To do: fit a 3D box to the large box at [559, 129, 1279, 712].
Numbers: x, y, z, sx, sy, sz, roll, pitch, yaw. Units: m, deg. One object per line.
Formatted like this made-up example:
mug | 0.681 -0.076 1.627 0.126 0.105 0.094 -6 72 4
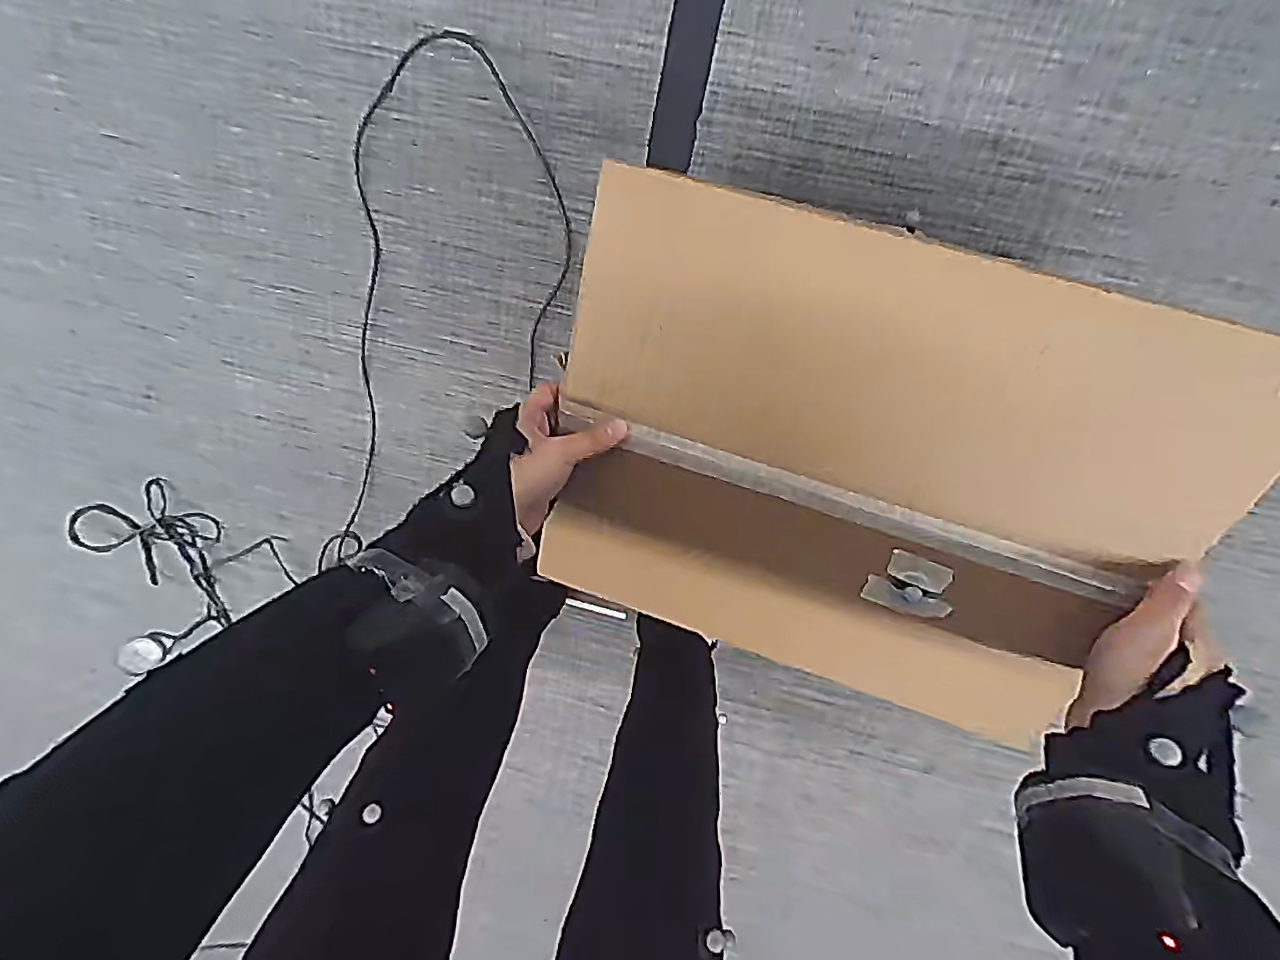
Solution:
large box | 0.183 -0.076 0.482 0.408 0.320 0.320 18 121 6
